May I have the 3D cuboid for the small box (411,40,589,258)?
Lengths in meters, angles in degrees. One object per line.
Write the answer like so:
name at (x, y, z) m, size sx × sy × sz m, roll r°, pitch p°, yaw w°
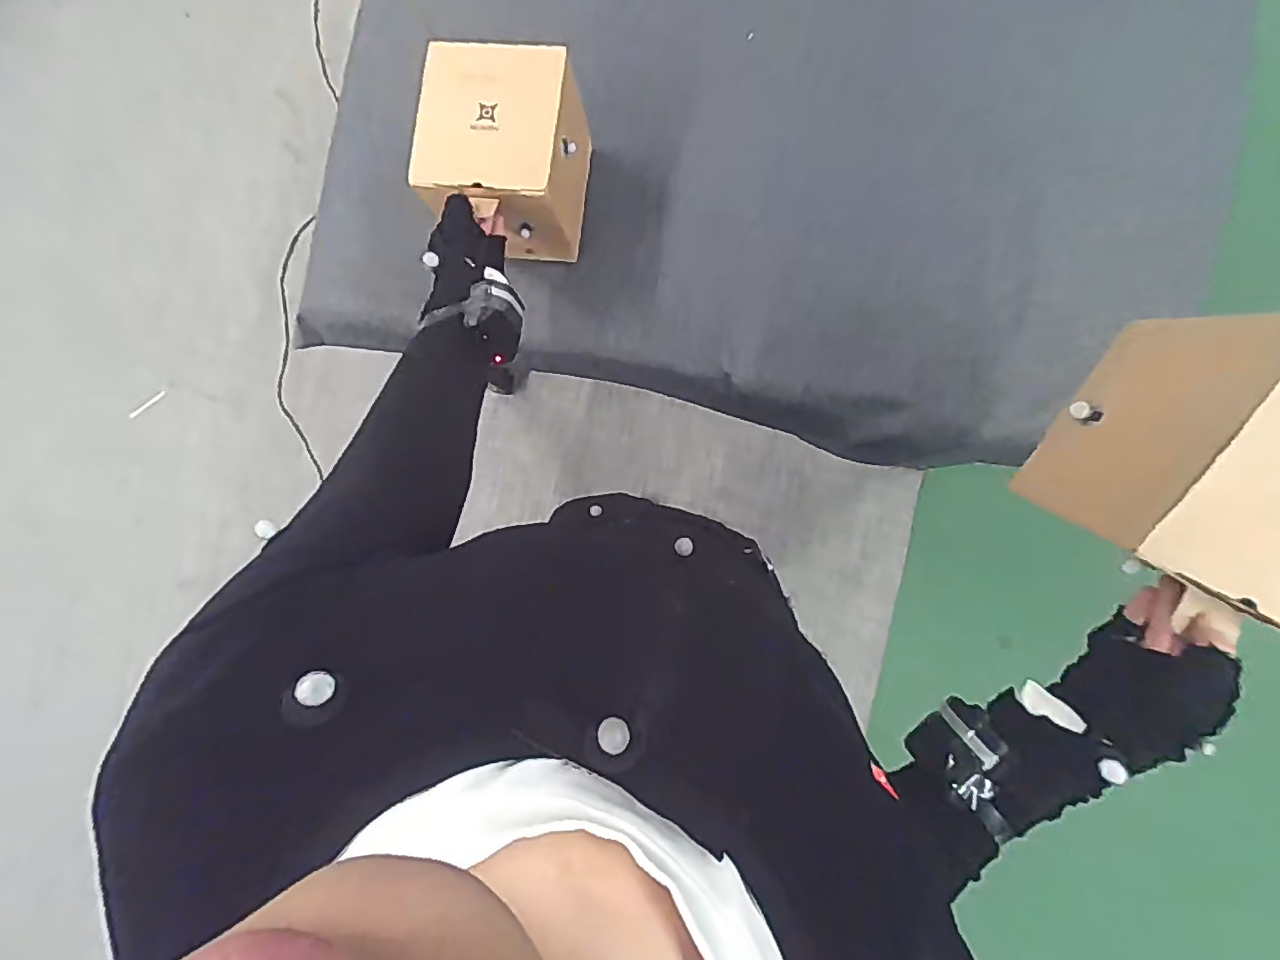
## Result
small box at (-0.165, -0.406, 0.690) m, size 0.168 × 0.176 × 0.179 m, roll 6°, pitch 86°, yaw 4°

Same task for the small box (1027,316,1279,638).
small box at (0.449, -0.008, 0.417) m, size 0.168 × 0.176 × 0.179 m, roll 28°, pitch 107°, yaw -1°
